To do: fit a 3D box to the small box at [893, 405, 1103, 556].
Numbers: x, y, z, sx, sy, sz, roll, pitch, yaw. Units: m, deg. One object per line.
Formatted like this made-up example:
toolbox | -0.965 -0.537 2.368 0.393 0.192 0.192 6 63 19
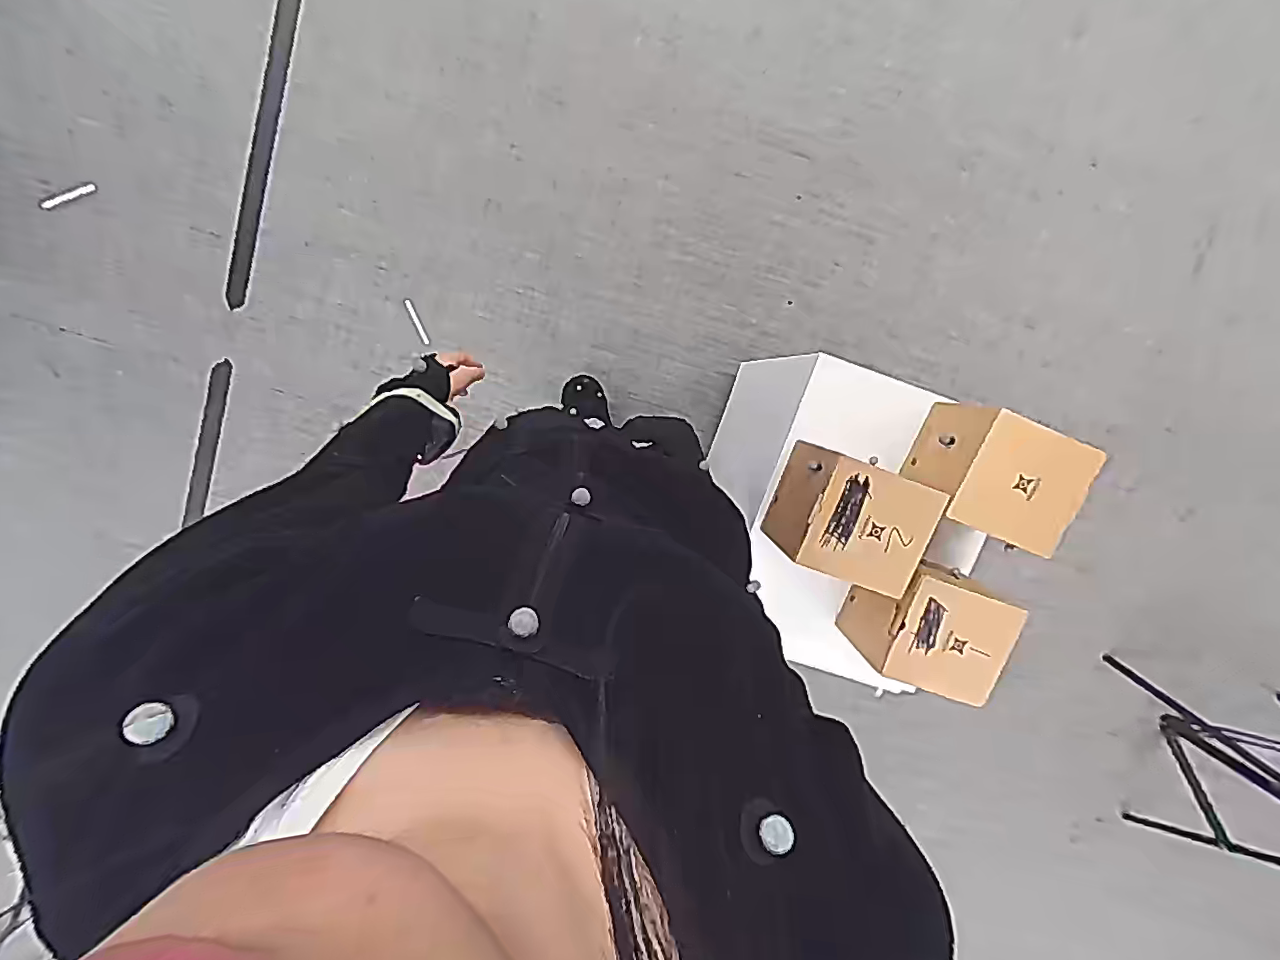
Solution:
small box | 0.529 -0.009 0.831 0.179 0.176 0.168 22 99 -6
